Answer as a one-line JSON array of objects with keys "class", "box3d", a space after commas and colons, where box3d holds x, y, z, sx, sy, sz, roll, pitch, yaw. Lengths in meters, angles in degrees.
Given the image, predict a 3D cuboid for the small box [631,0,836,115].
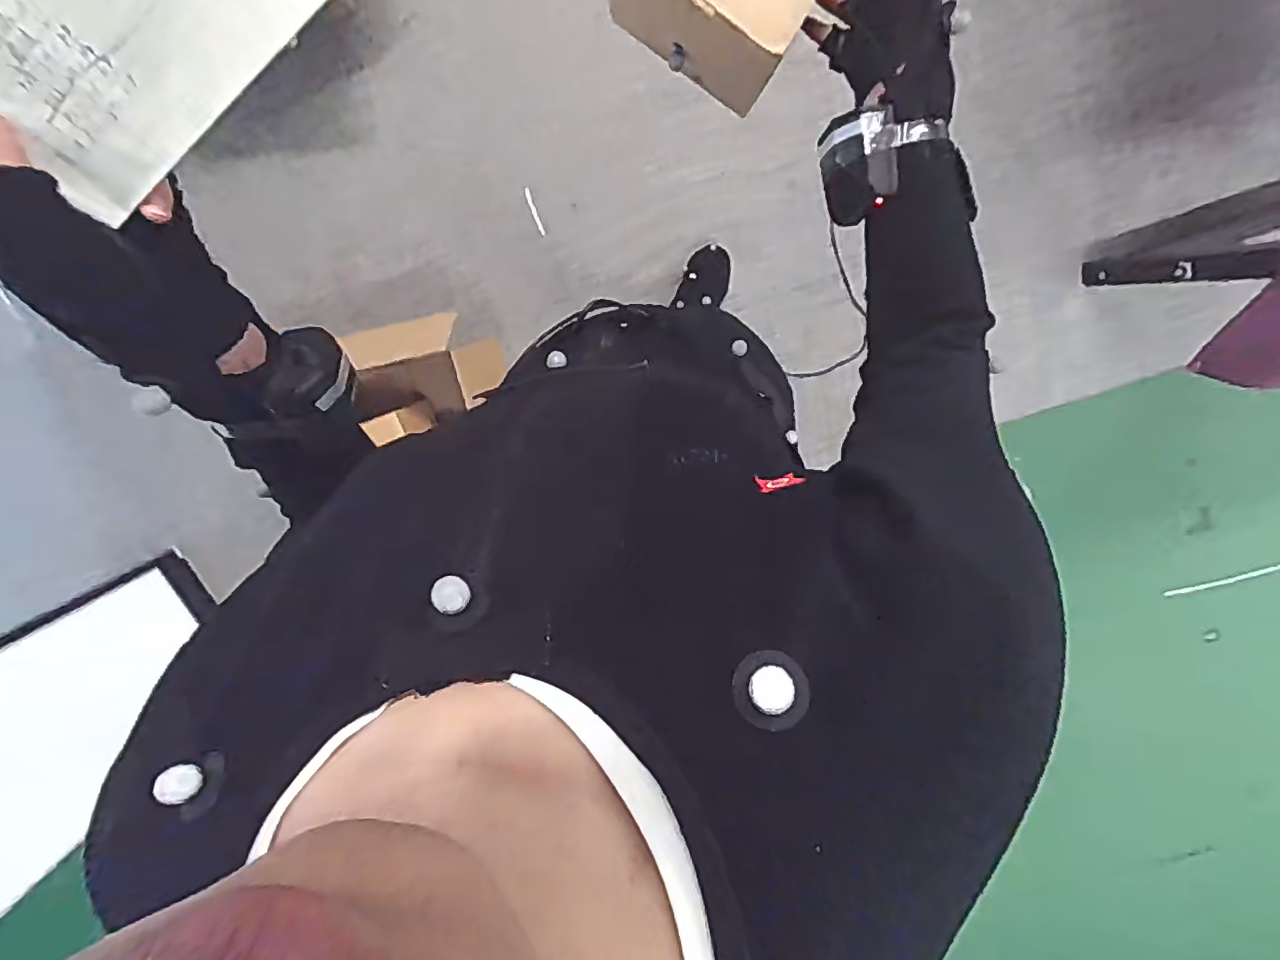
[{"class": "small box", "box3d": [0.097, -0.454, 0.450, 0.168, 0.176, 0.179, 31, 109, -11]}]
